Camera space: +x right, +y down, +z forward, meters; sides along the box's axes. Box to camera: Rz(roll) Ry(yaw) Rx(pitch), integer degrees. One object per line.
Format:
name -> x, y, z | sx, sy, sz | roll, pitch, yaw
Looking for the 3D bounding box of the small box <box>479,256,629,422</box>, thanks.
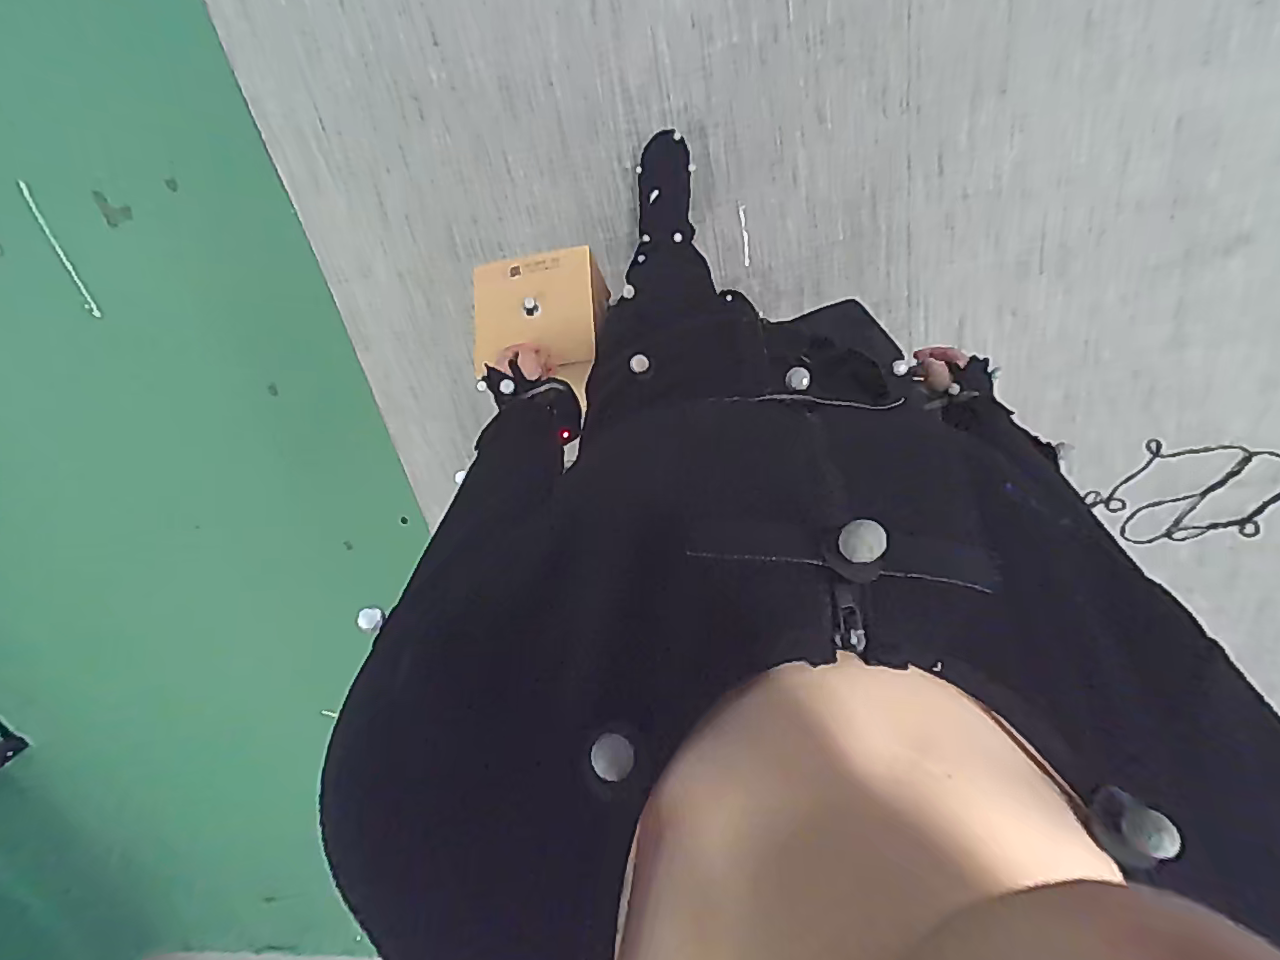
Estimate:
small box -> -0.122, -0.203, 0.788 | 0.168, 0.179, 0.176 | -9, 76, 11
